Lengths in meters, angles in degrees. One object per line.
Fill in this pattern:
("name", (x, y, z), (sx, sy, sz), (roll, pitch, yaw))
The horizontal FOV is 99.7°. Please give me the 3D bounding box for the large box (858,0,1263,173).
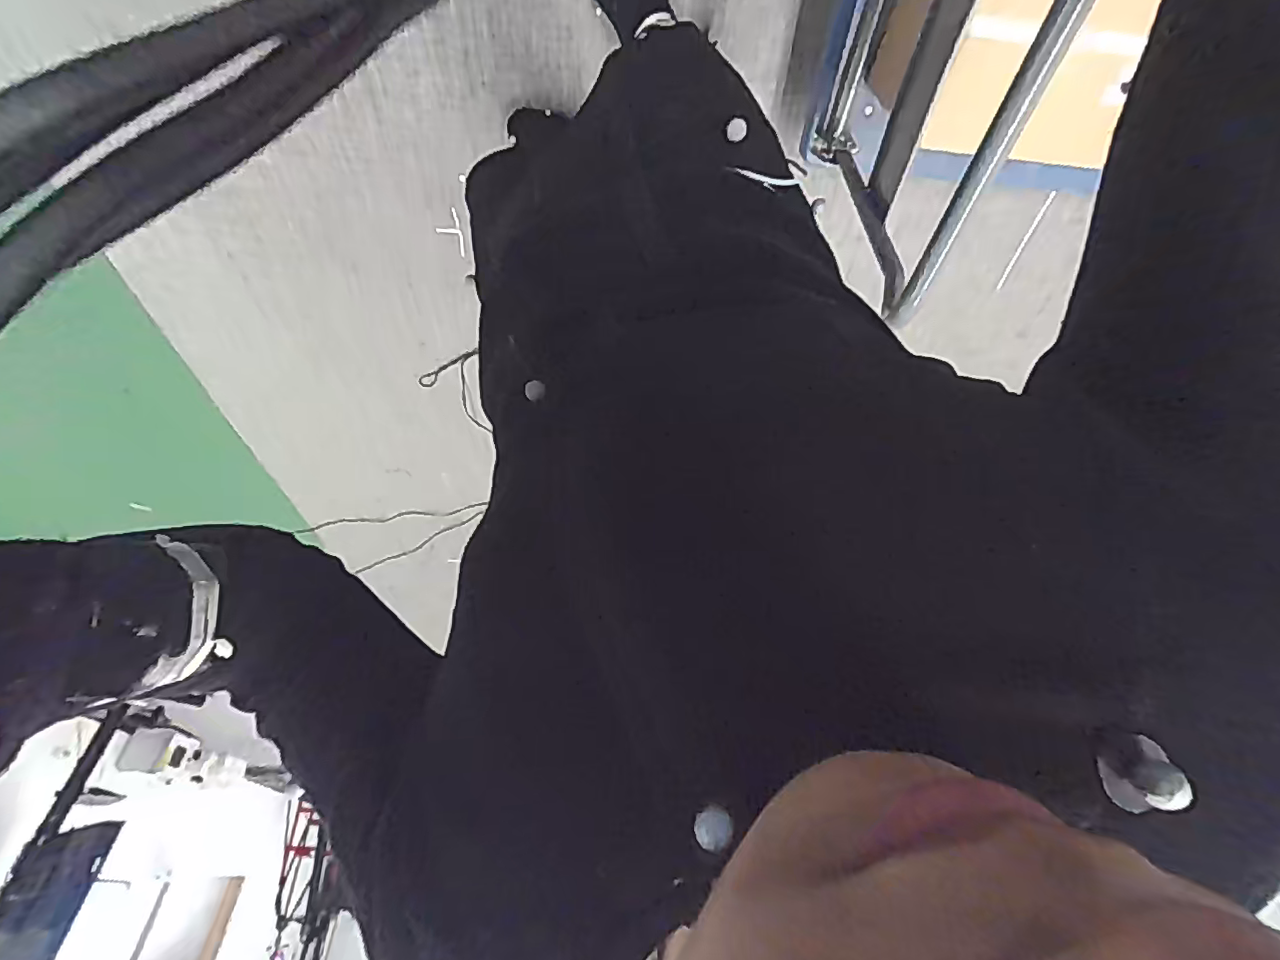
("large box", (0.629, -0.727, 0.858), (0.408, 0.320, 0.320), (3, 141, -5))
